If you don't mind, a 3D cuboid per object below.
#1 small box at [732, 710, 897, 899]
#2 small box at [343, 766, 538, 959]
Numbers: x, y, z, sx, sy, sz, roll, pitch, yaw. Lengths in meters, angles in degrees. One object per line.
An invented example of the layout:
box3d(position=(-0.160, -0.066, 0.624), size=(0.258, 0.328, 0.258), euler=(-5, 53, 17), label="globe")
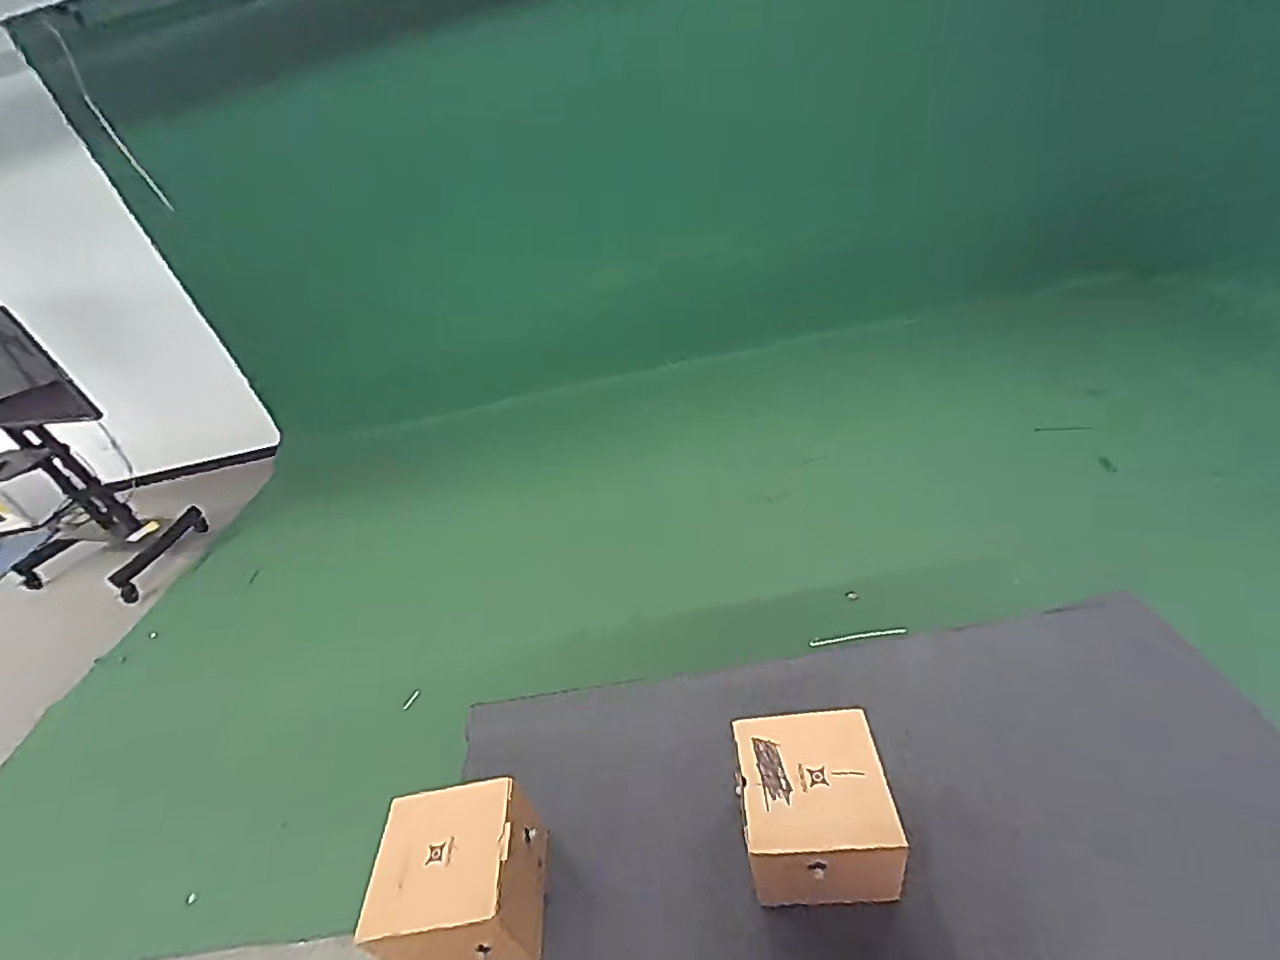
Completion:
box3d(position=(0.221, 0.425, 0.710), size=(0.179, 0.176, 0.168), euler=(-7, 37, 11), label="small box")
box3d(position=(-0.246, 0.519, 0.725), size=(0.179, 0.176, 0.168), euler=(-13, 34, 3), label="small box")
